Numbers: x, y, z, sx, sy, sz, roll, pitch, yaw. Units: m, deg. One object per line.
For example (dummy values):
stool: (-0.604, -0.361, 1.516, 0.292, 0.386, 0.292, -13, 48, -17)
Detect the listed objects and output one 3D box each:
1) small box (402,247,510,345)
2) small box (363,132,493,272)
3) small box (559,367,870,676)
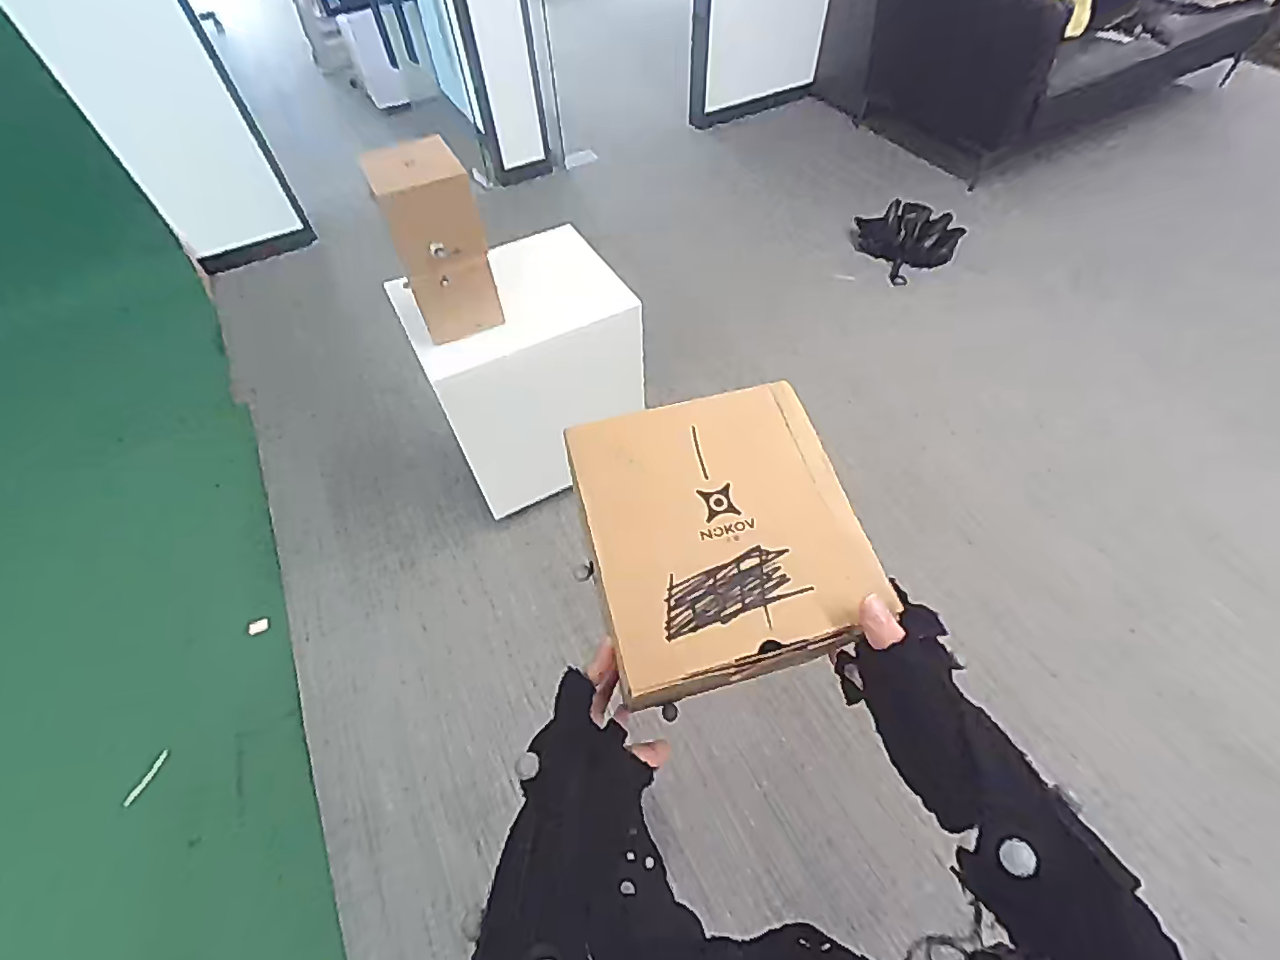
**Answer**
small box: (-0.405, -0.431, 1.200, 0.168, 0.176, 0.179, -23, 56, -14)
small box: (-0.409, -0.541, 1.059, 0.168, 0.176, 0.179, -25, 59, -15)
small box: (0.041, 0.044, 0.423, 0.168, 0.176, 0.179, -12, 64, -8)
